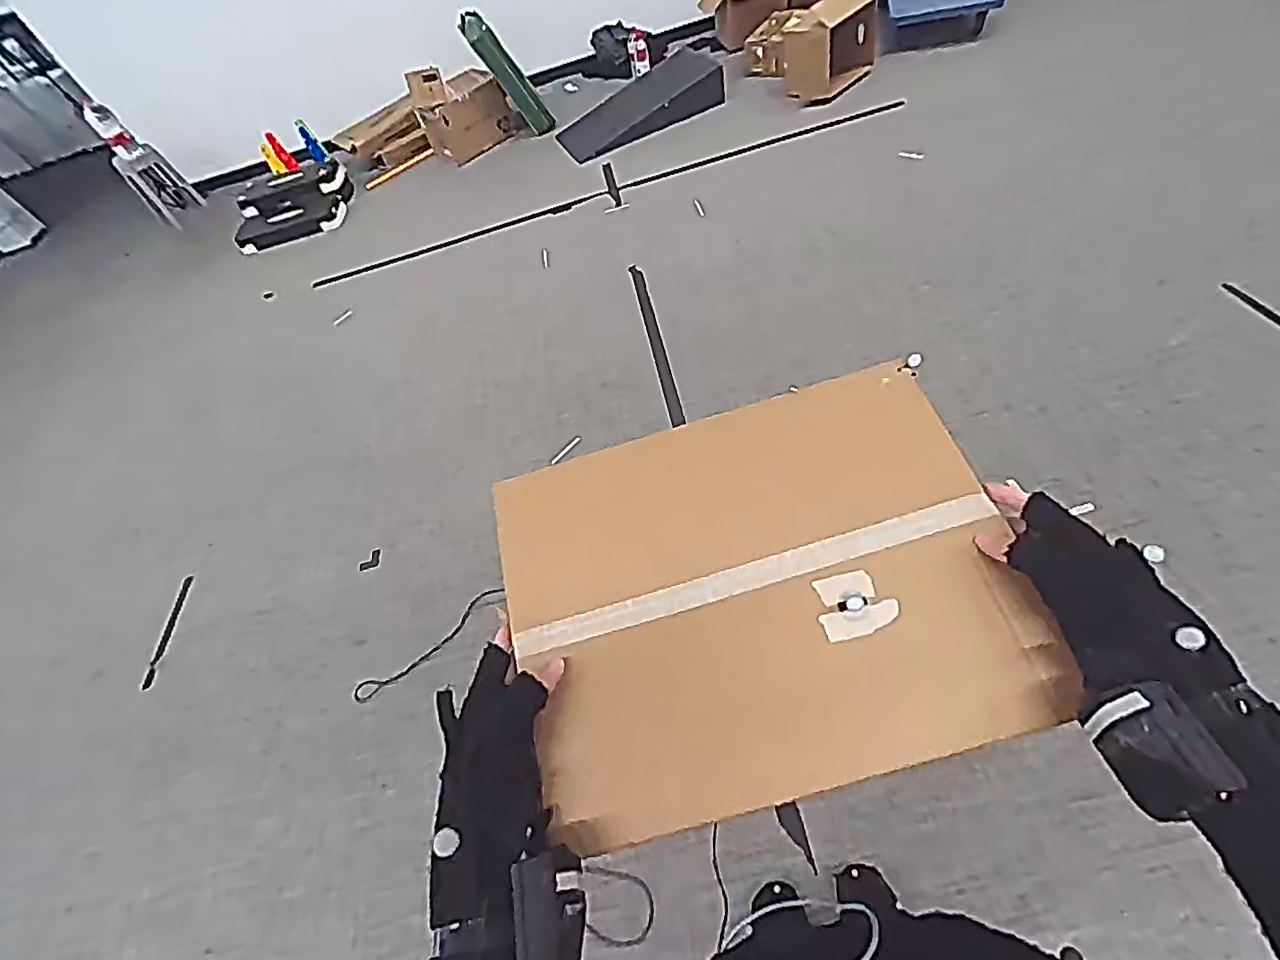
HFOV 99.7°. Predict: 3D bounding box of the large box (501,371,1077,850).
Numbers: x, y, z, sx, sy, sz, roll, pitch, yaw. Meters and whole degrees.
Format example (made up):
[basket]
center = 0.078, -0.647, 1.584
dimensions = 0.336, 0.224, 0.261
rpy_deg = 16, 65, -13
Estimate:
[large box]
center = 0.111, 0.146, 0.590
dimensions = 0.408, 0.320, 0.320
rpy_deg = -17, 64, 1
